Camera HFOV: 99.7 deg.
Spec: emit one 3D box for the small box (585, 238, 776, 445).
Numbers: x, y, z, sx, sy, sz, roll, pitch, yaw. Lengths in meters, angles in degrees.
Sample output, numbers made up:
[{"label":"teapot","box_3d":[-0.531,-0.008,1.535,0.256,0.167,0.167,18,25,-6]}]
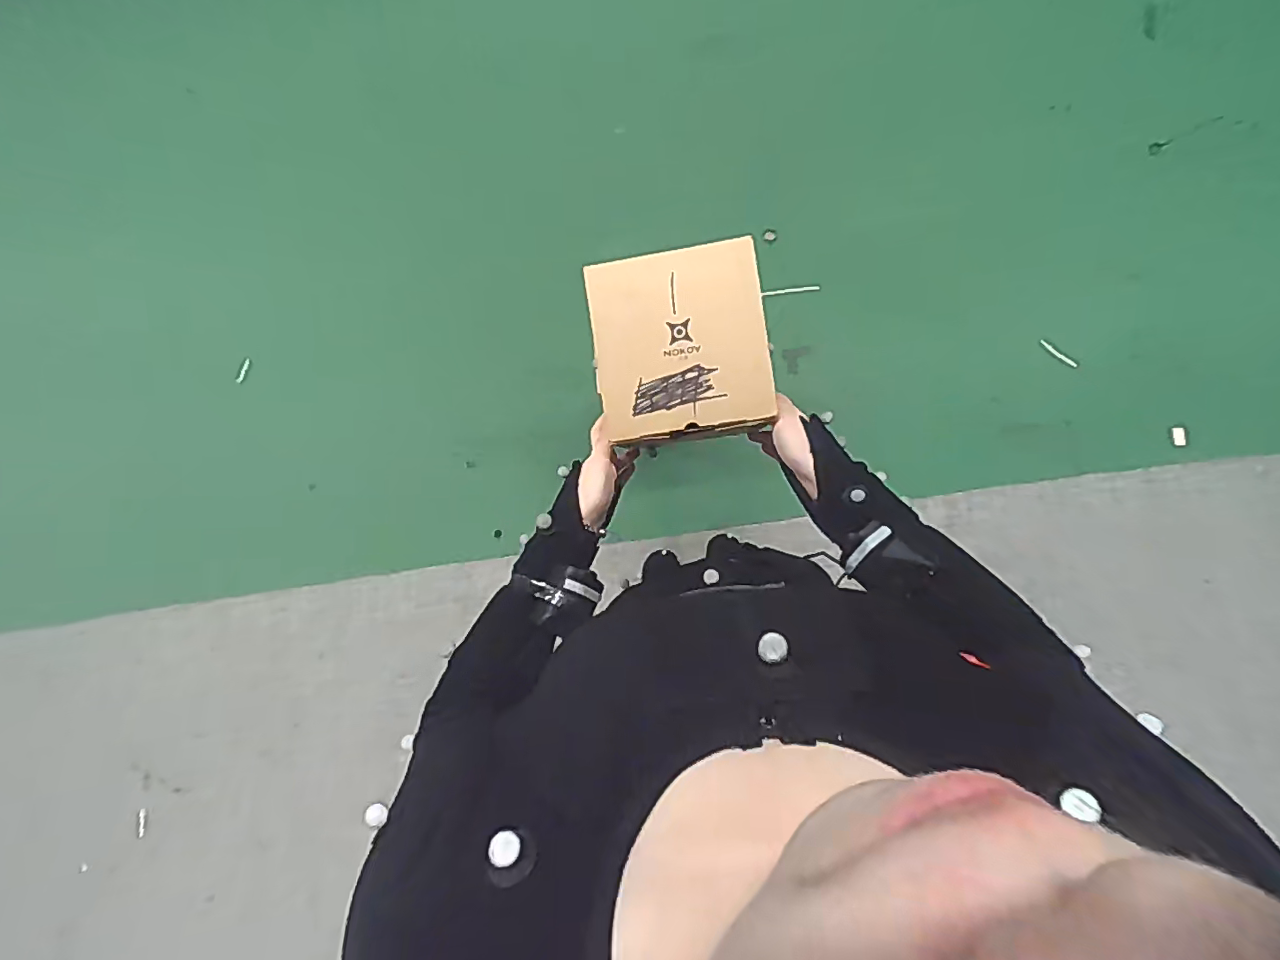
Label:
[{"label":"small box","box_3d":[0.046,-0.133,0.591,0.168,0.176,0.179,-8,90,5]}]
